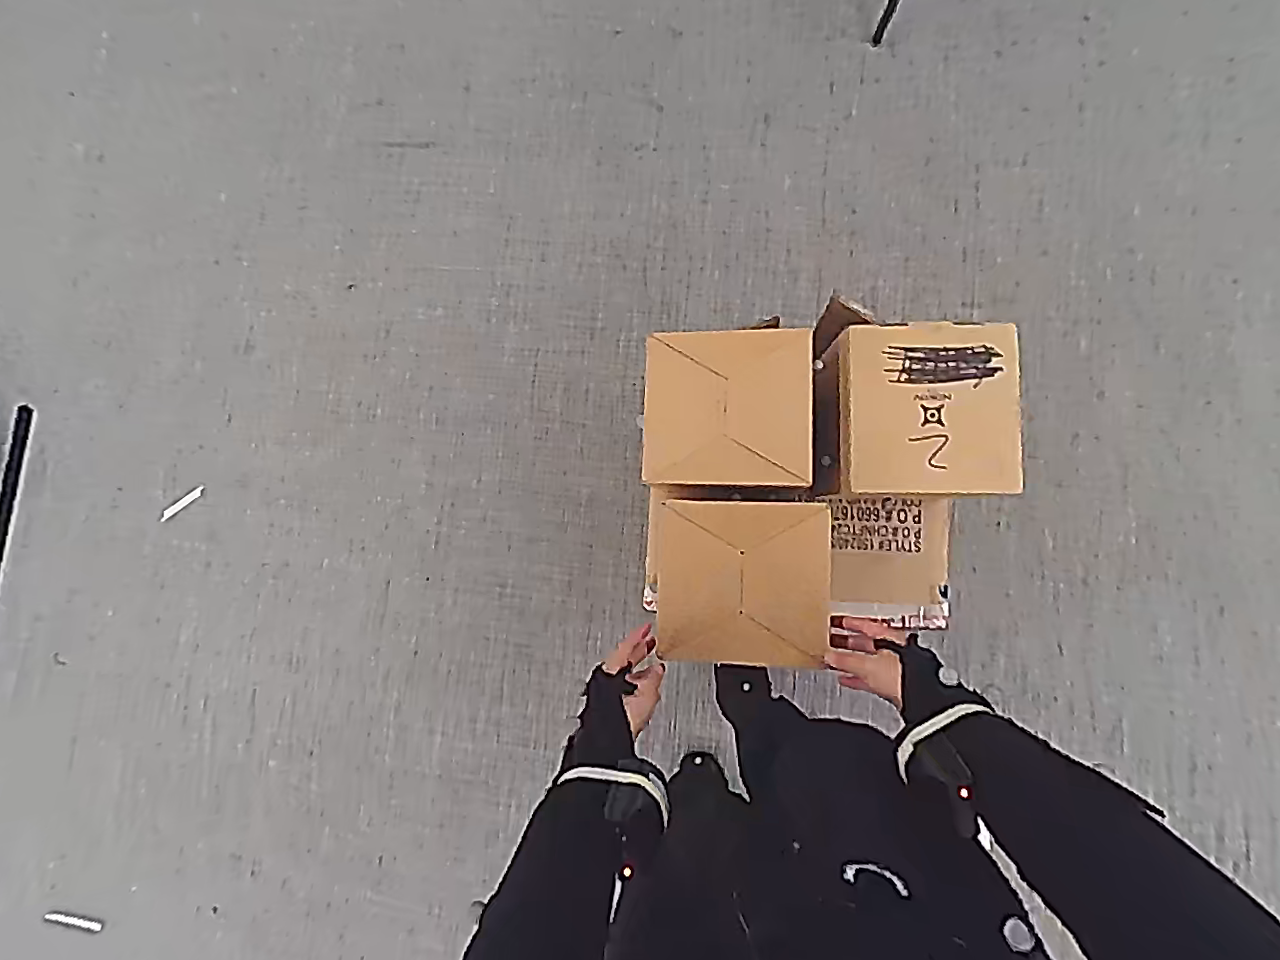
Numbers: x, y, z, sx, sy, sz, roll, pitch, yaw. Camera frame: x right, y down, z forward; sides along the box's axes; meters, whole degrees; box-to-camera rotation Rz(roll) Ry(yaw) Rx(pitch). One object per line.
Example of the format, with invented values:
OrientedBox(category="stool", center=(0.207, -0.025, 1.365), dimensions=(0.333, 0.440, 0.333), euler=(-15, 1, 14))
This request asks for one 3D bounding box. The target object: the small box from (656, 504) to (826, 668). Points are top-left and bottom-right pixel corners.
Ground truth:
OrientedBox(category="small box", center=(0.111, 0.114, 0.638), dimensions=(0.179, 0.176, 0.168), euler=(2, 87, 8))
